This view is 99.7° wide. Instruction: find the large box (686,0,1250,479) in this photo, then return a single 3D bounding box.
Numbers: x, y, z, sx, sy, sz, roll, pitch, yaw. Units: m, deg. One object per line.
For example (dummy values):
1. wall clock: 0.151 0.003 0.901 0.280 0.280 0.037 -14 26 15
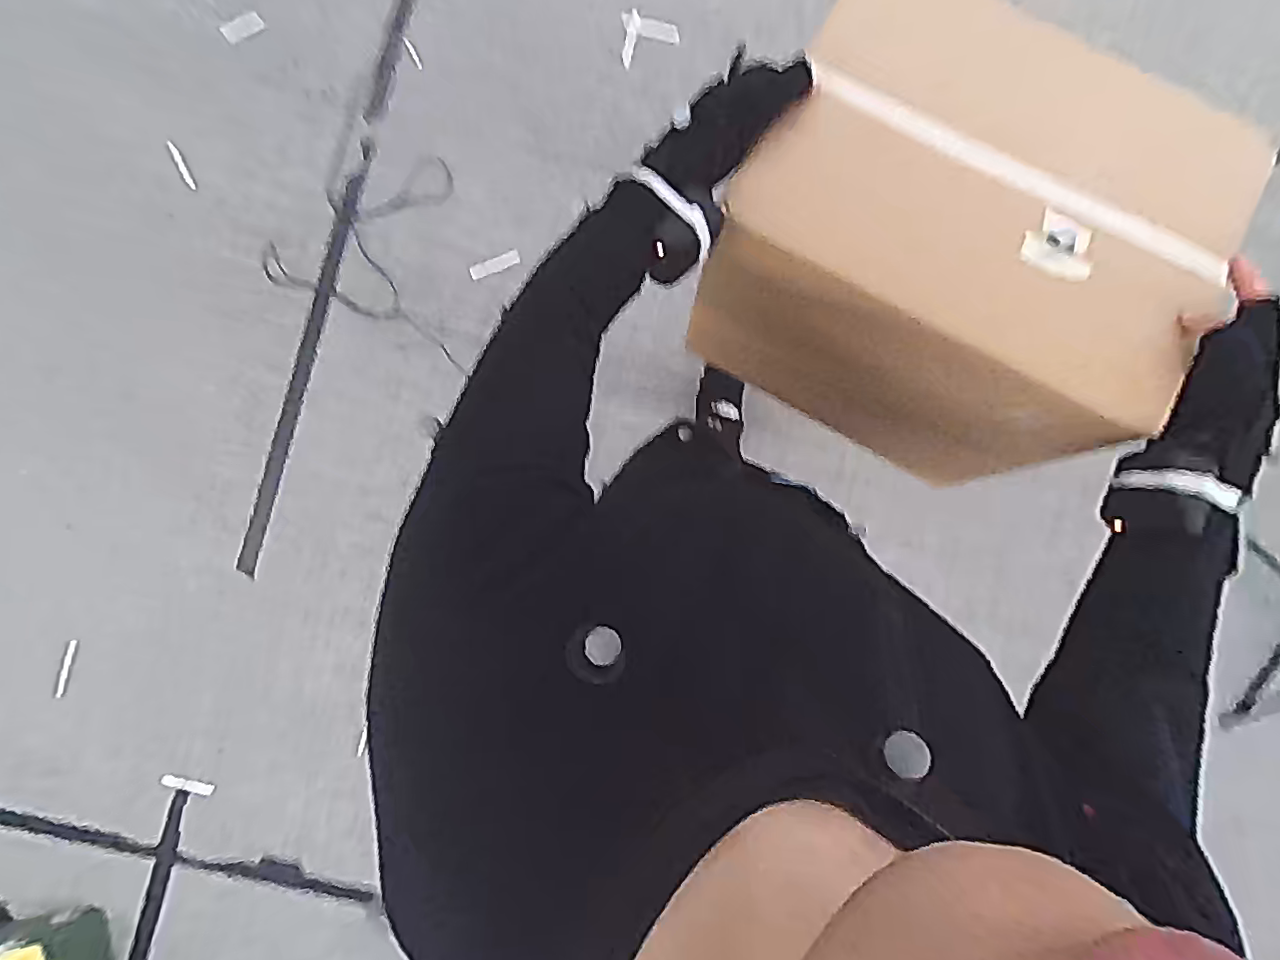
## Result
1. large box: 0.311 -0.245 0.631 0.408 0.320 0.320 30 83 3
